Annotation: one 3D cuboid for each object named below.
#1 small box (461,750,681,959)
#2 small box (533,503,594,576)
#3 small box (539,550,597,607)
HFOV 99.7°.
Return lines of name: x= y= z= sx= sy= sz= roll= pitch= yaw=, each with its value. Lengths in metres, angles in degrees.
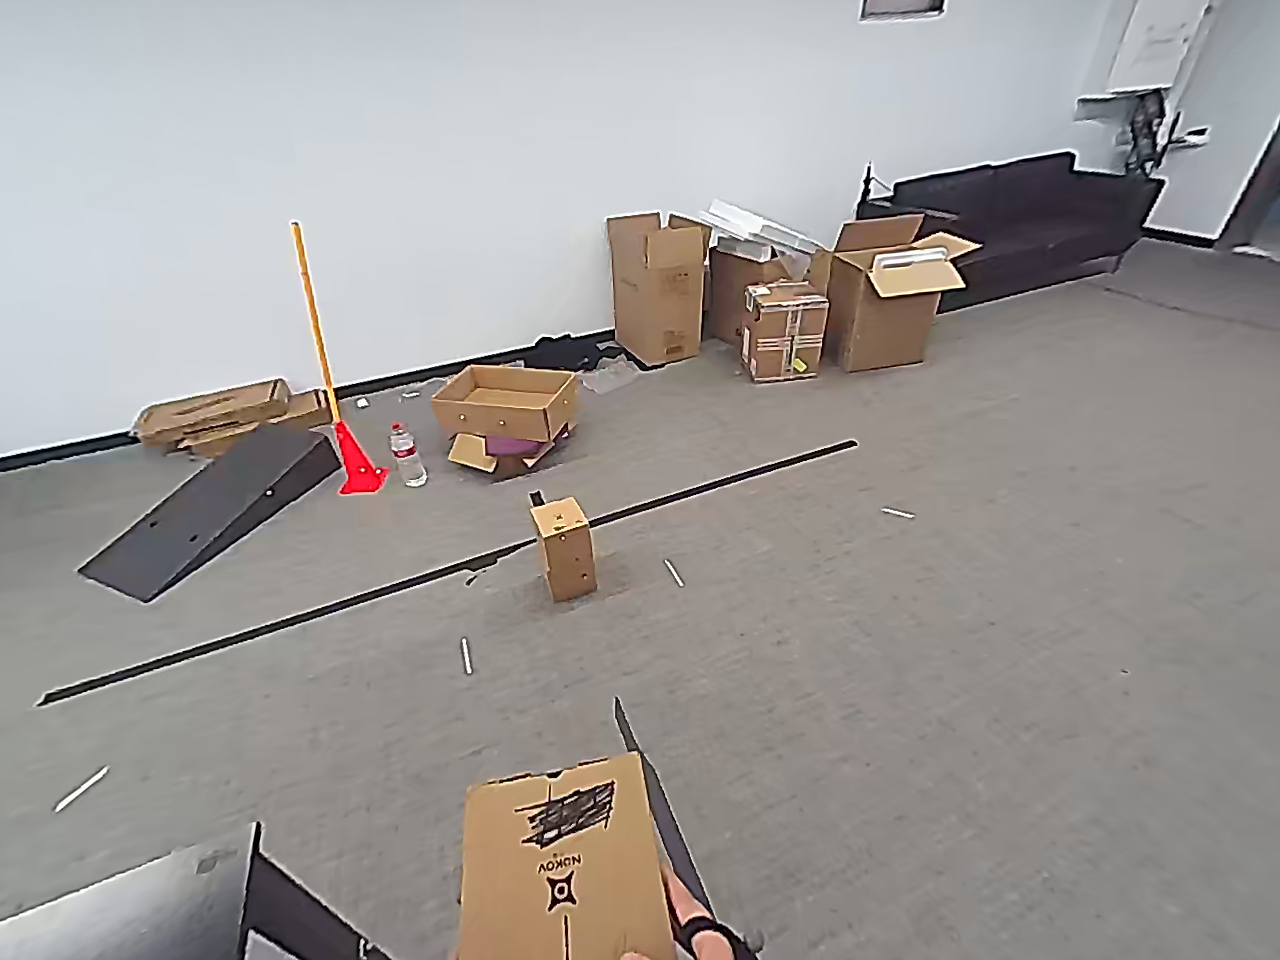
small box: x=-0.062 y=0.388 z=0.502 sx=0.168 sy=0.176 sz=0.179 roll=-9 pitch=42 yaw=-8
small box: x=-0.275 y=0.215 z=1.943 sx=0.168 sy=0.176 sz=0.179 roll=-17 pitch=36 yaw=-18
small box: x=-0.267 y=0.348 z=2.039 sx=0.179 sy=0.176 sz=0.168 roll=-17 pitch=37 yaw=-16
